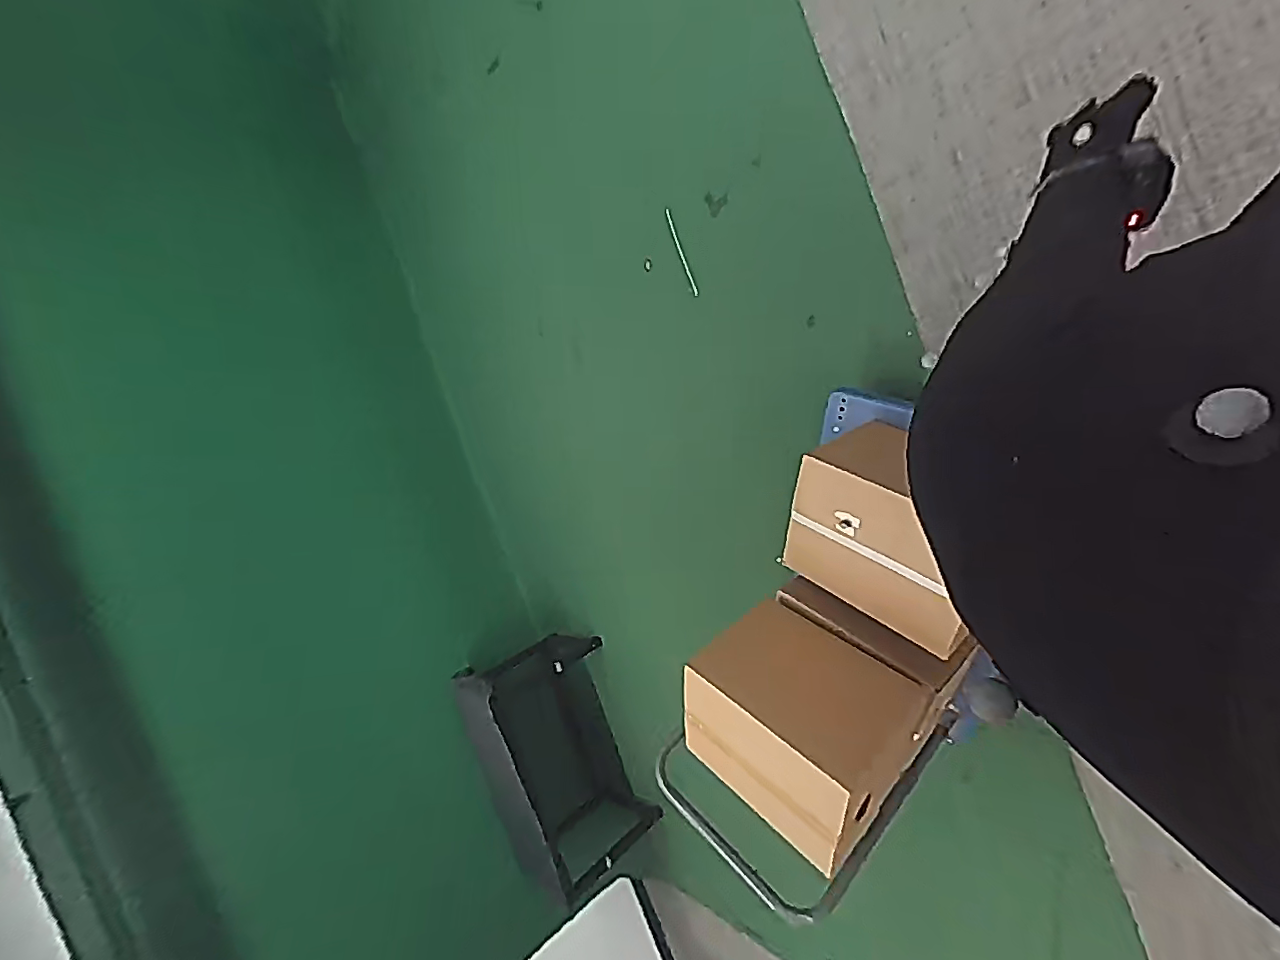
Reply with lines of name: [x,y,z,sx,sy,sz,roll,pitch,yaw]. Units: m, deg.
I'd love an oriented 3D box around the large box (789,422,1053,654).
large box: [0.613,0.103,1.229,0.408,0.320,0.320,31,131,40]
